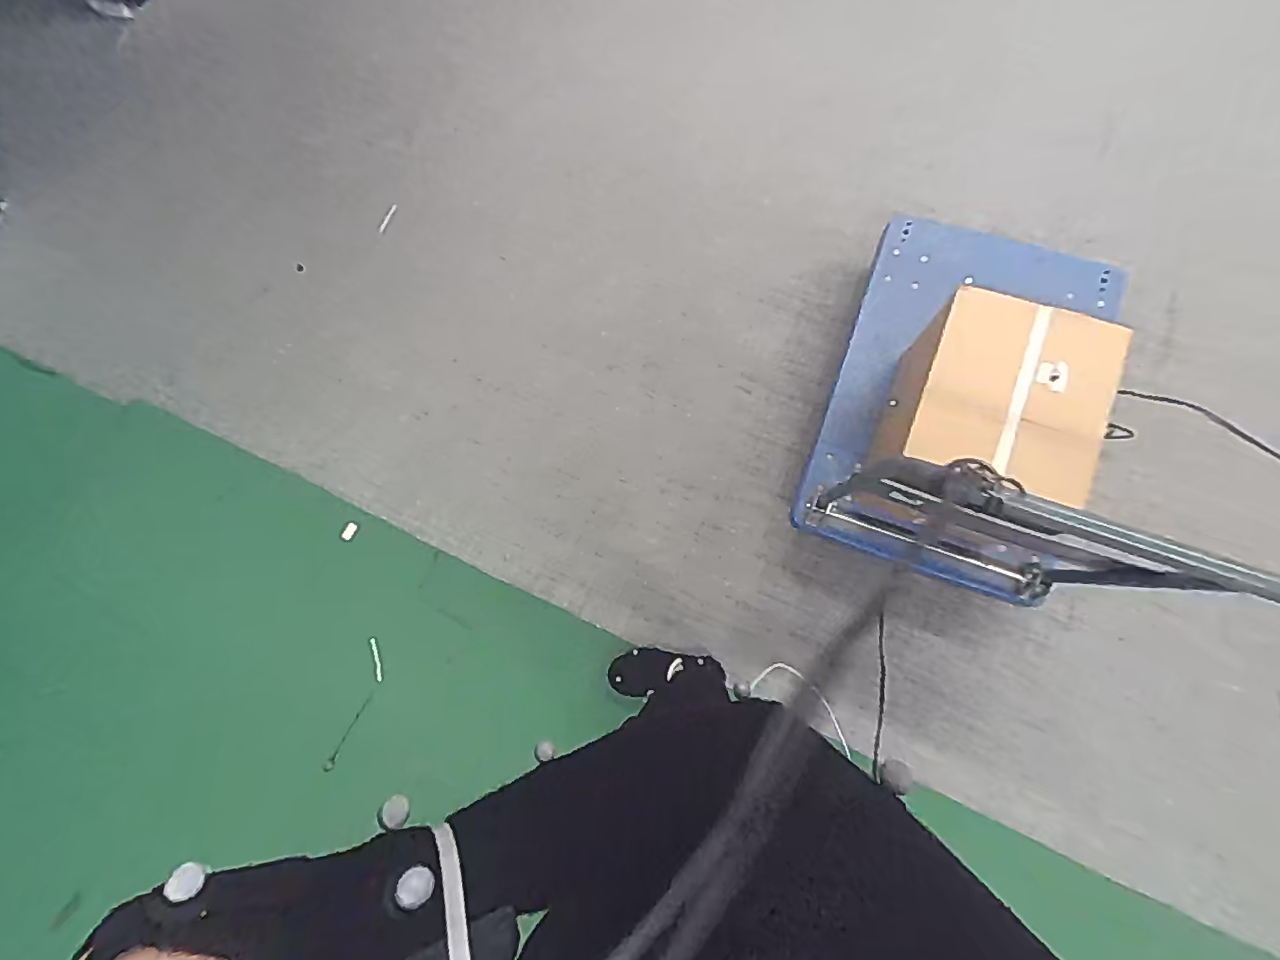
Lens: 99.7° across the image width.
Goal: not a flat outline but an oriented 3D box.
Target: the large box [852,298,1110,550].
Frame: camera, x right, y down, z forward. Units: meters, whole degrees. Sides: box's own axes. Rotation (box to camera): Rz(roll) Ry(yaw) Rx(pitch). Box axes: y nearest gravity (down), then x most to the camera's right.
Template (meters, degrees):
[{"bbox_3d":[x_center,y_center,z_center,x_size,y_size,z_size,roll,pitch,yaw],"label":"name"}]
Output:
[{"bbox_3d":[0.696,-0.099,1.158,0.320,0.320,0.408,21,80,10],"label":"large box"}]
